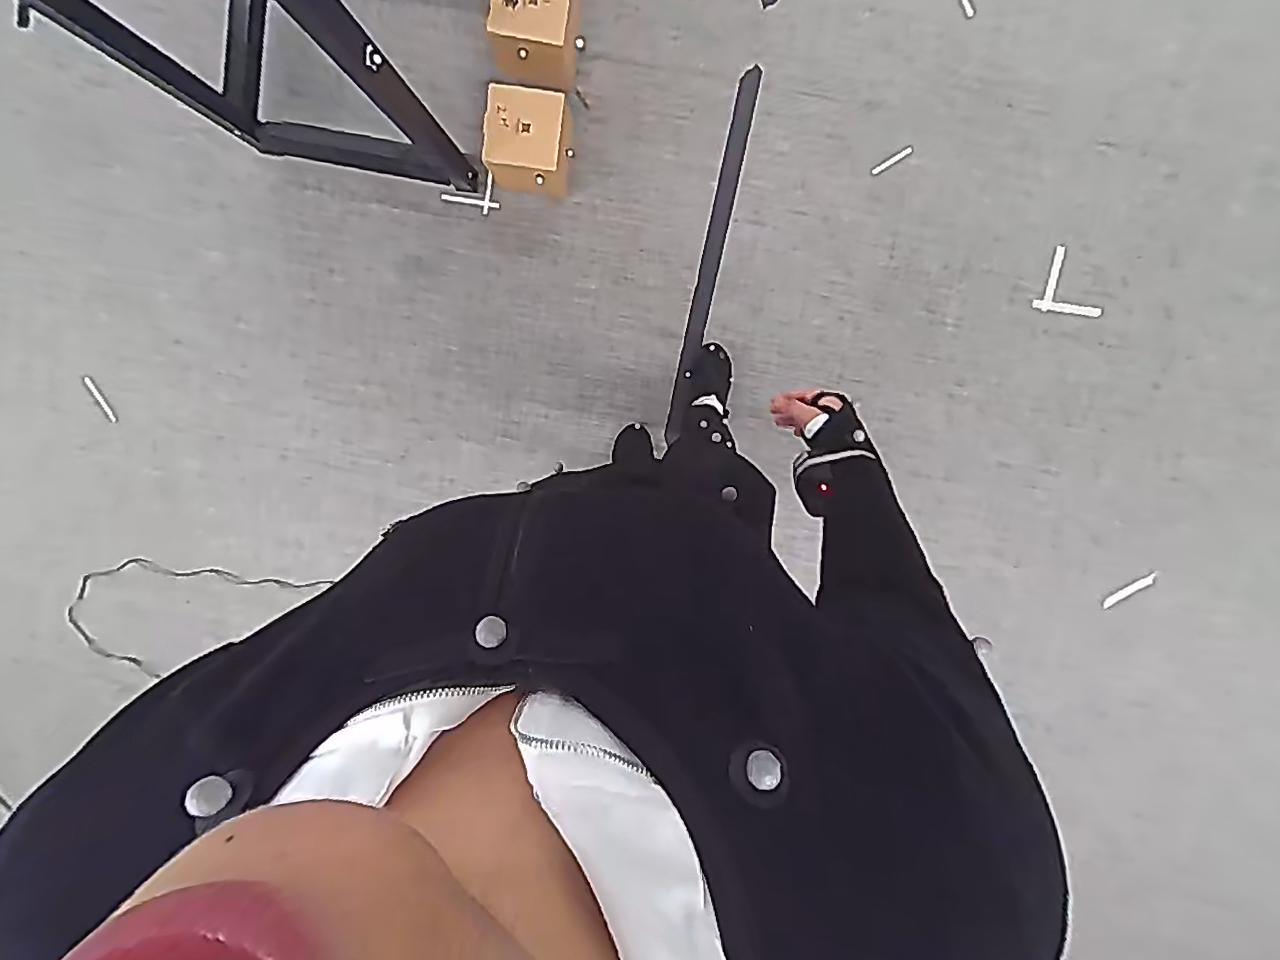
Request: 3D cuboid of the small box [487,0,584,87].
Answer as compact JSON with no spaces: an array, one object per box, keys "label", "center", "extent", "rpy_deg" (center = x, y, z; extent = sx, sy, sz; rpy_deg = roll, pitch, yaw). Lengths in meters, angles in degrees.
[{"label":"small box","center":[-0.239,-1.062,1.264],"extent":[0.179,0.176,0.168],"rpy_deg":[10,99,-1]}]
